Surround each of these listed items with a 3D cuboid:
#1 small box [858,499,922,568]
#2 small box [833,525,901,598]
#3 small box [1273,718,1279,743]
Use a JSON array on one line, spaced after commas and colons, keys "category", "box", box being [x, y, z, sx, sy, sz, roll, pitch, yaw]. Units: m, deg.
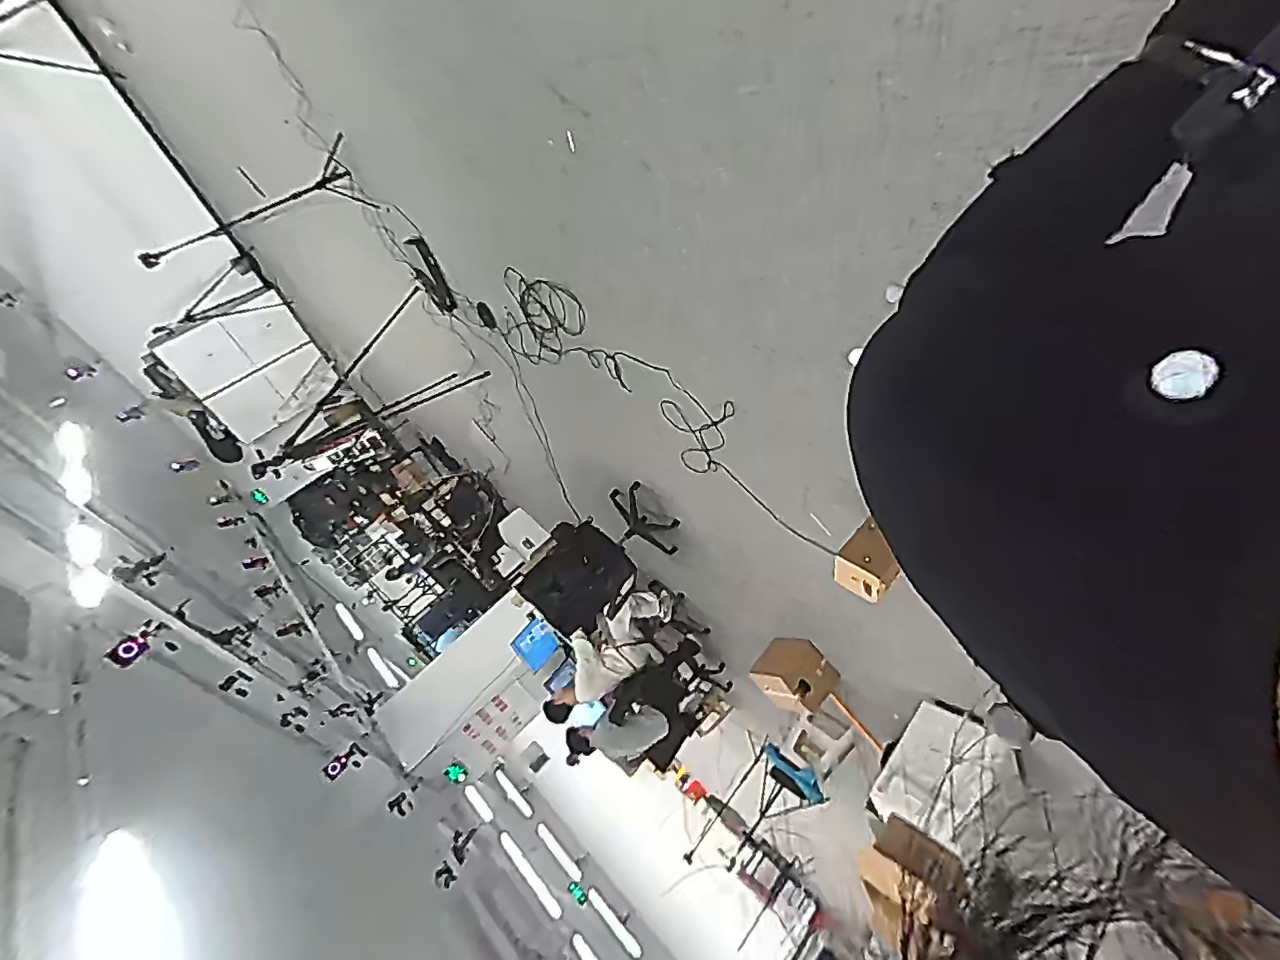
[{"category": "small box", "box": [0.955, 0.200, 2.074, 0.179, 0.176, 0.168, 28, 150, 37]}, {"category": "small box", "box": [0.841, 0.294, 2.001, 0.179, 0.176, 0.168, 30, 151, 37]}, {"category": "small box", "box": [1.583, 0.557, 1.199, 0.179, 0.176, 0.168, 27, 148, 40]}]
